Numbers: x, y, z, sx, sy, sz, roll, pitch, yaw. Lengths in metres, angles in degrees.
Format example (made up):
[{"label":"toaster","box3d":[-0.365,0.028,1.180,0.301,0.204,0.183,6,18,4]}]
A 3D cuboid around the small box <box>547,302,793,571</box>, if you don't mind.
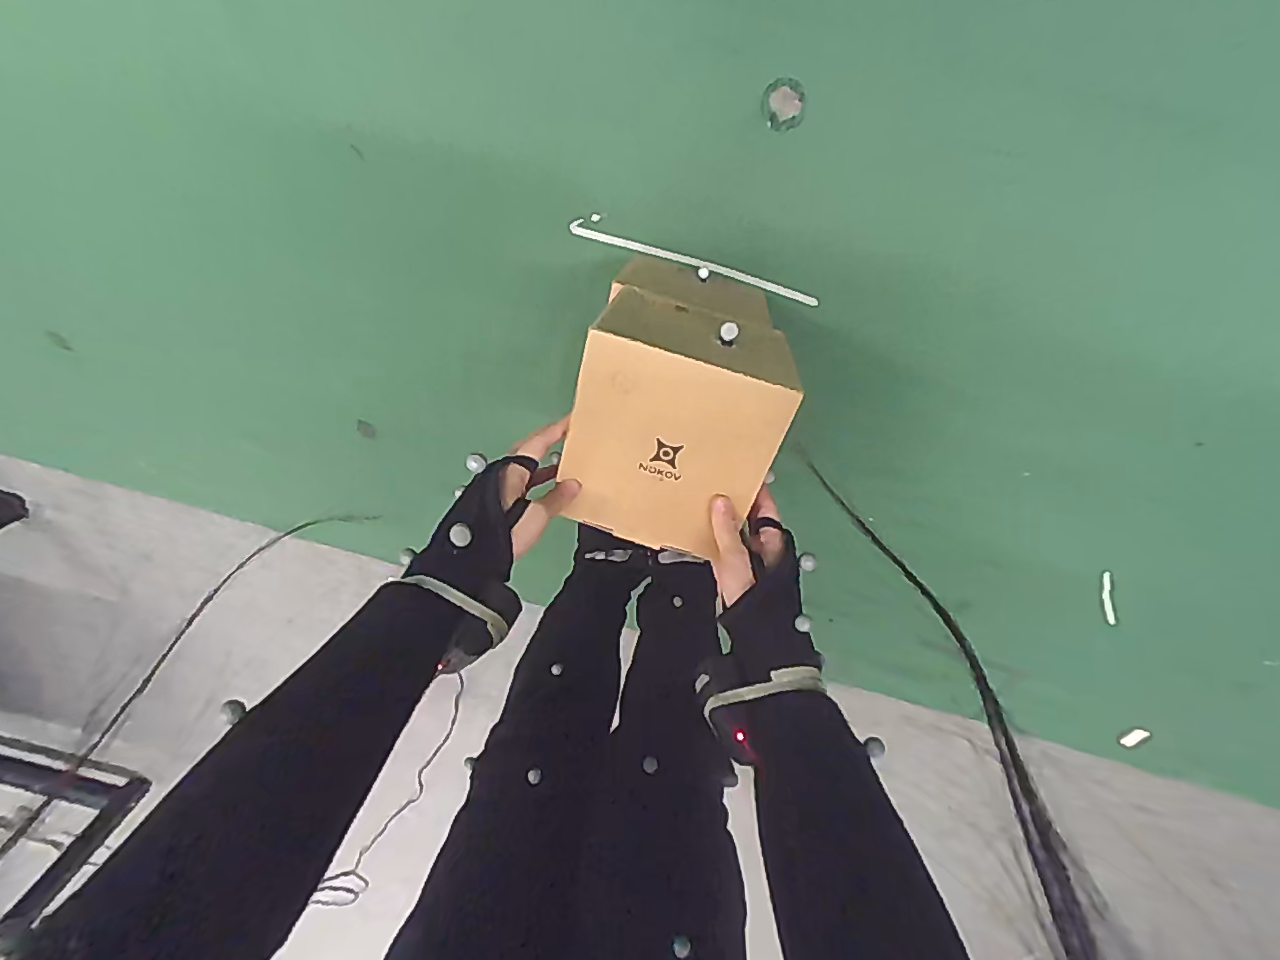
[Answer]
[{"label":"small box","box3d":[0.024,-0.050,0.509,0.168,0.176,0.179,16,122,-1]}]
